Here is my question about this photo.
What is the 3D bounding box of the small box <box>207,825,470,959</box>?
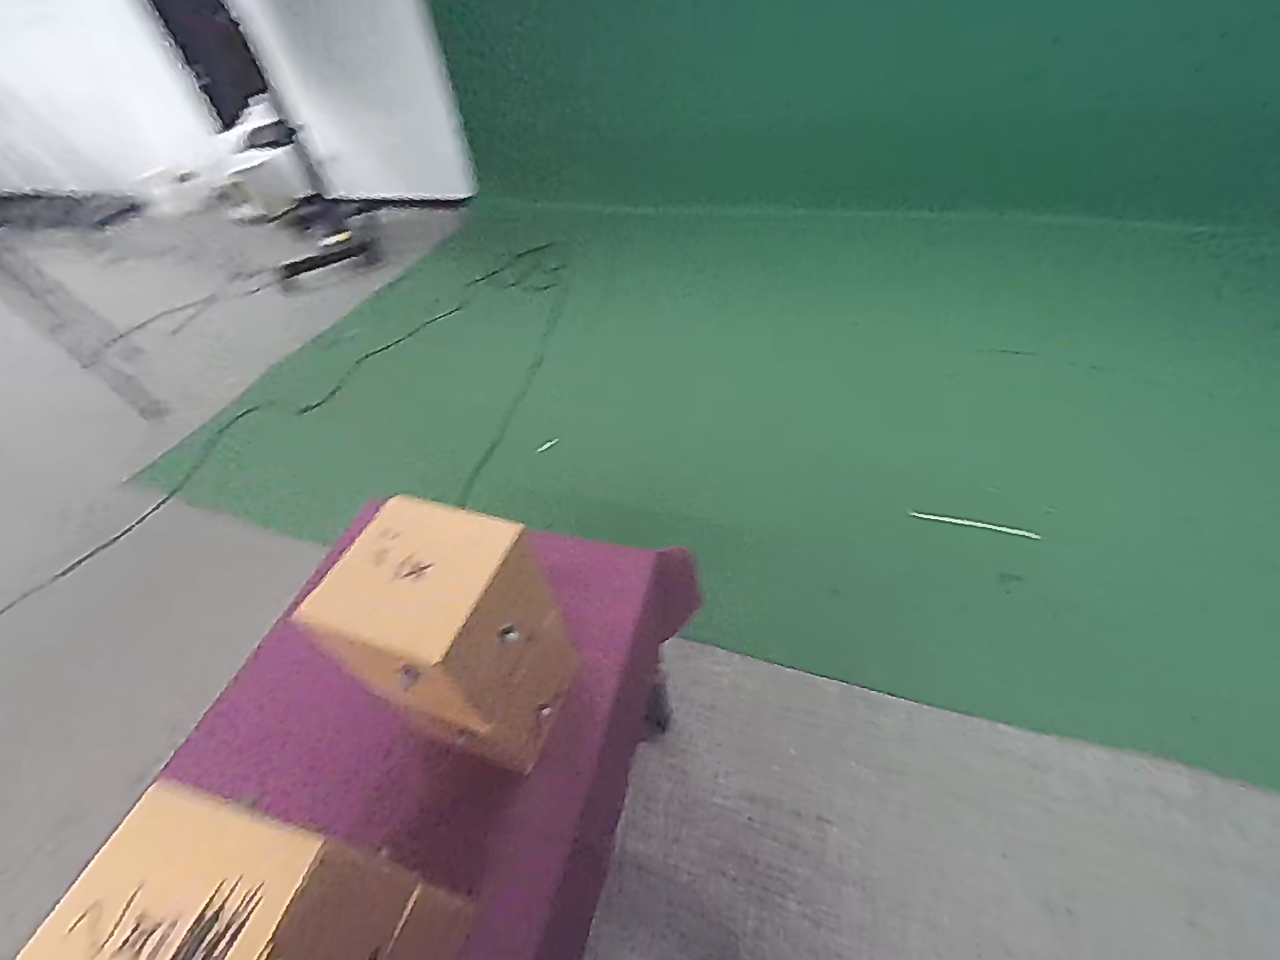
[{"bbox_3d":[-0.298,0.485,0.539,0.168,0.176,0.179,10,49,17],"label":"small box"}]

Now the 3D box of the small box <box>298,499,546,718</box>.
[{"bbox_3d":[-0.228,0.150,0.622,0.179,0.176,0.168,10,48,17],"label":"small box"}]

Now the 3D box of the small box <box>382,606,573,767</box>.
[{"bbox_3d":[-0.213,0.265,0.740,0.179,0.176,0.168,12,49,18],"label":"small box"}]
